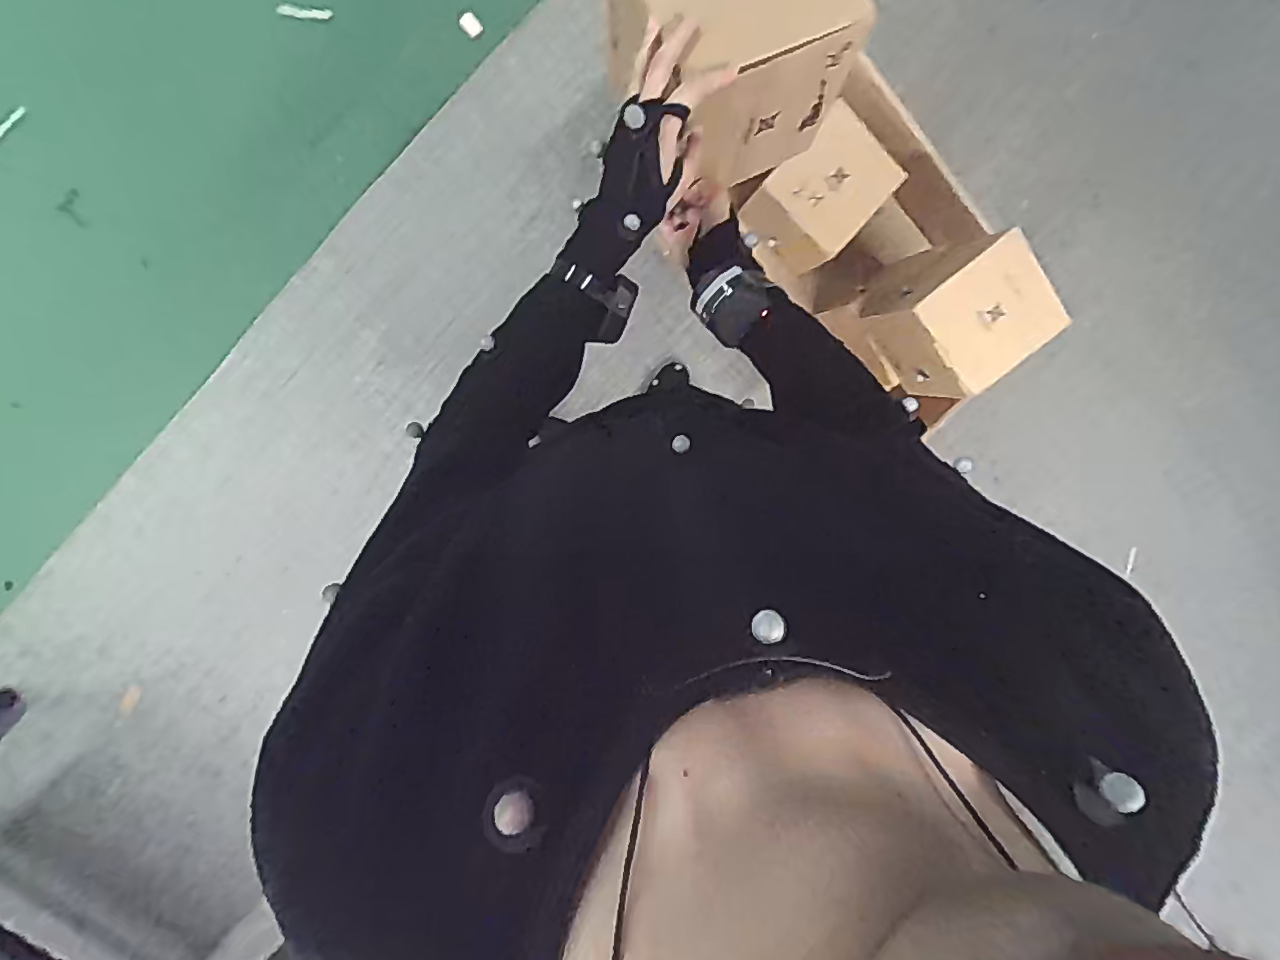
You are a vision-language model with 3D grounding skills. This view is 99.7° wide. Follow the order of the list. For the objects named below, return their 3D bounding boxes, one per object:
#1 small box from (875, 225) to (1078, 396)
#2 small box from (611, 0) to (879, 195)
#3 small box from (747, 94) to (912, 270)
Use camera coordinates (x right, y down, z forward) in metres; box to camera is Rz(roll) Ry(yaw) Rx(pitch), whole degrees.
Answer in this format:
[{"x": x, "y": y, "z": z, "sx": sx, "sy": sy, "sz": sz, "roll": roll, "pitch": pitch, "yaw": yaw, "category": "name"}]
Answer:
[{"x": 0.491, "y": -0.246, "z": 0.824, "sx": 0.179, "sy": 0.176, "sz": 0.168, "roll": -38, "pitch": 102, "yaw": 4, "category": "small box"}, {"x": 0.079, "y": -0.416, "z": 0.509, "sx": 0.179, "sy": 0.168, "sz": 0.176, "roll": -22, "pitch": 88, "yaw": -3, "category": "small box"}, {"x": 0.310, "y": -0.493, "z": 0.925, "sx": 0.168, "sy": 0.176, "sz": 0.179, "roll": 42, "pitch": 96, "yaw": -10, "category": "small box"}]
